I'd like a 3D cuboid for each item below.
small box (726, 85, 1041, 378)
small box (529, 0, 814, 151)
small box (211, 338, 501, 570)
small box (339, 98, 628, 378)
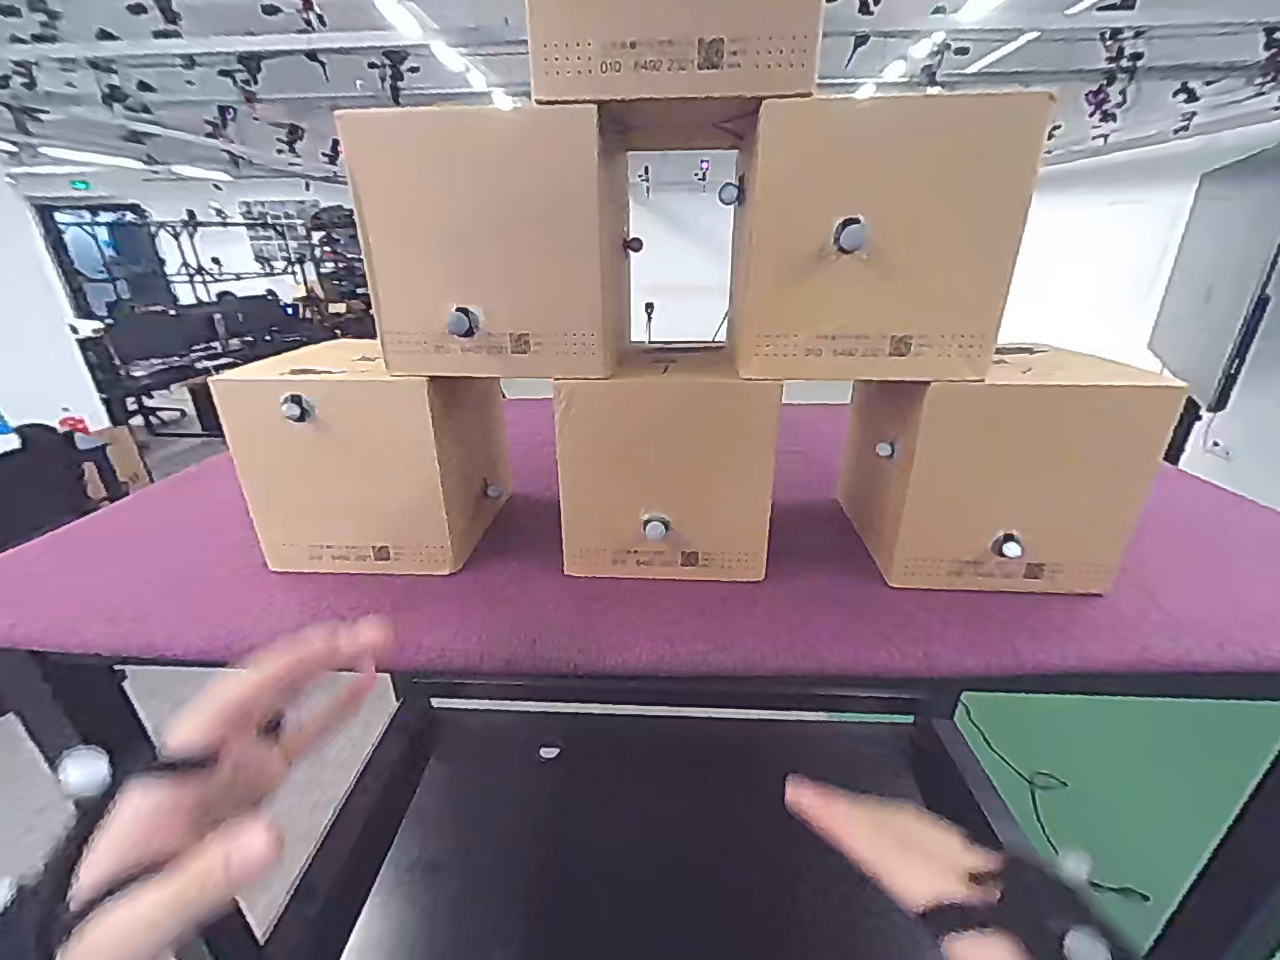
[{"bbox_3d":[0.156,-0.176,0.416,0.168,0.176,0.179,1,22,4],"label":"small box"},{"bbox_3d":[0.022,-0.332,0.361,0.168,0.176,0.179,2,22,4],"label":"small box"},{"bbox_3d":[-0.232,-0.034,0.499,0.168,0.176,0.179,0,22,2],"label":"small box"},{"bbox_3d":[-0.101,-0.184,0.434,0.168,0.176,0.179,1,23,5],"label":"small box"}]
